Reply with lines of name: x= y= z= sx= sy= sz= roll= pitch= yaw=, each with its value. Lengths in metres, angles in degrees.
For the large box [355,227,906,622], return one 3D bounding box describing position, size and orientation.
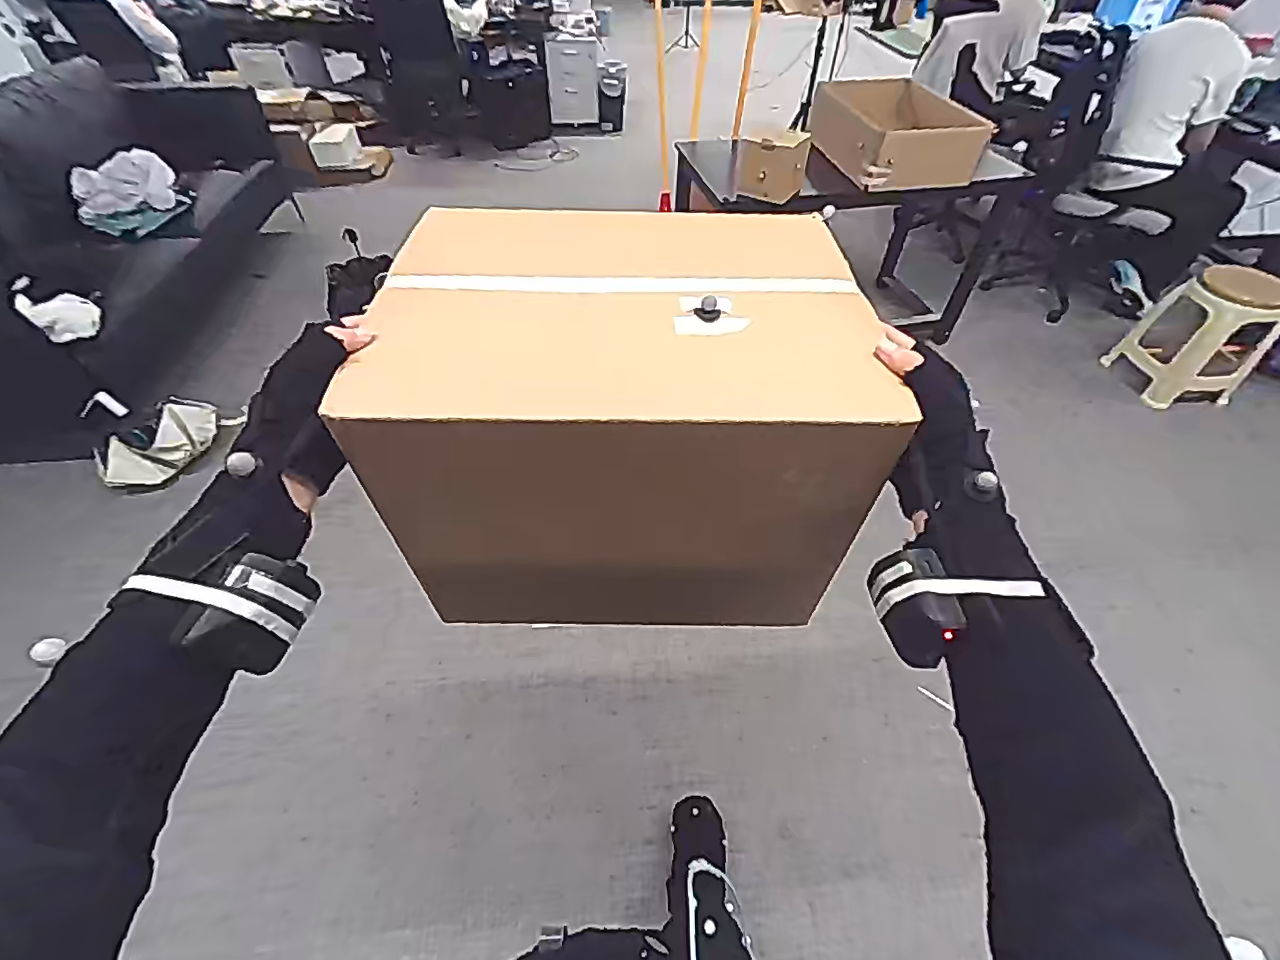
large box: x=-0.013 y=-0.054 z=0.591 sx=0.408 sy=0.320 sz=0.320 roll=1 pitch=50 yaw=-2
